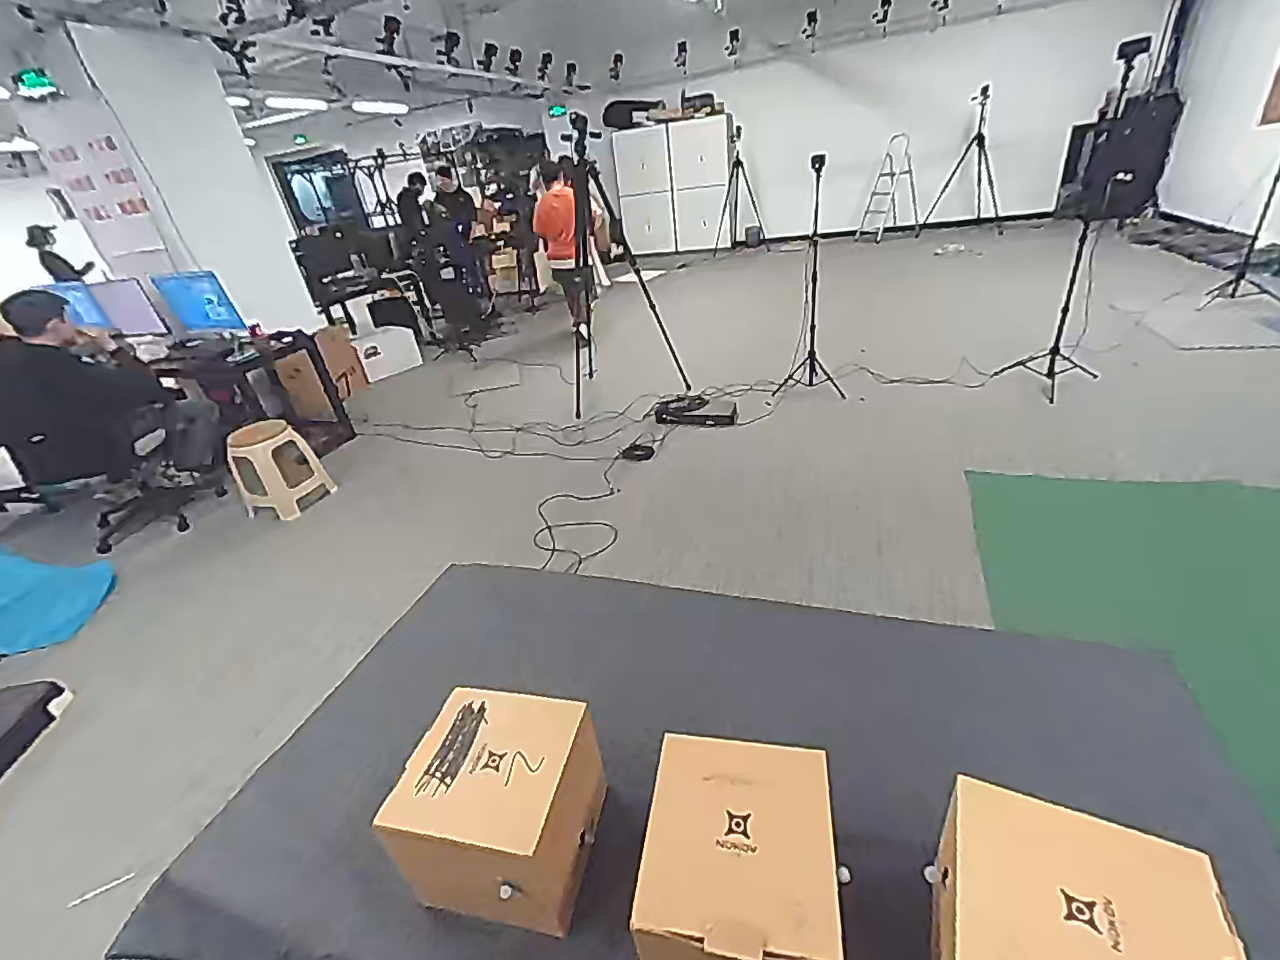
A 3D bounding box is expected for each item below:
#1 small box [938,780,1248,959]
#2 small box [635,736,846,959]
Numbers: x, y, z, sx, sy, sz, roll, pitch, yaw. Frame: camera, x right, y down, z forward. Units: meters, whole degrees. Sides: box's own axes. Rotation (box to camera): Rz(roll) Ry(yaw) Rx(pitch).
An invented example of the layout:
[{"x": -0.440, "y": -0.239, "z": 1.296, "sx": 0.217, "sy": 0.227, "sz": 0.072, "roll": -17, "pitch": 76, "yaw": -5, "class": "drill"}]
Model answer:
[{"x": 0.348, "y": 0.396, "z": 0.441, "sx": 0.179, "sy": 0.176, "sz": 0.168, "roll": 8, "pitch": 33, "yaw": 26, "class": "small box"}, {"x": 0.101, "y": 0.386, "z": 0.523, "sx": 0.168, "sy": 0.176, "sz": 0.179, "roll": 1, "pitch": 29, "yaw": 13, "class": "small box"}]
